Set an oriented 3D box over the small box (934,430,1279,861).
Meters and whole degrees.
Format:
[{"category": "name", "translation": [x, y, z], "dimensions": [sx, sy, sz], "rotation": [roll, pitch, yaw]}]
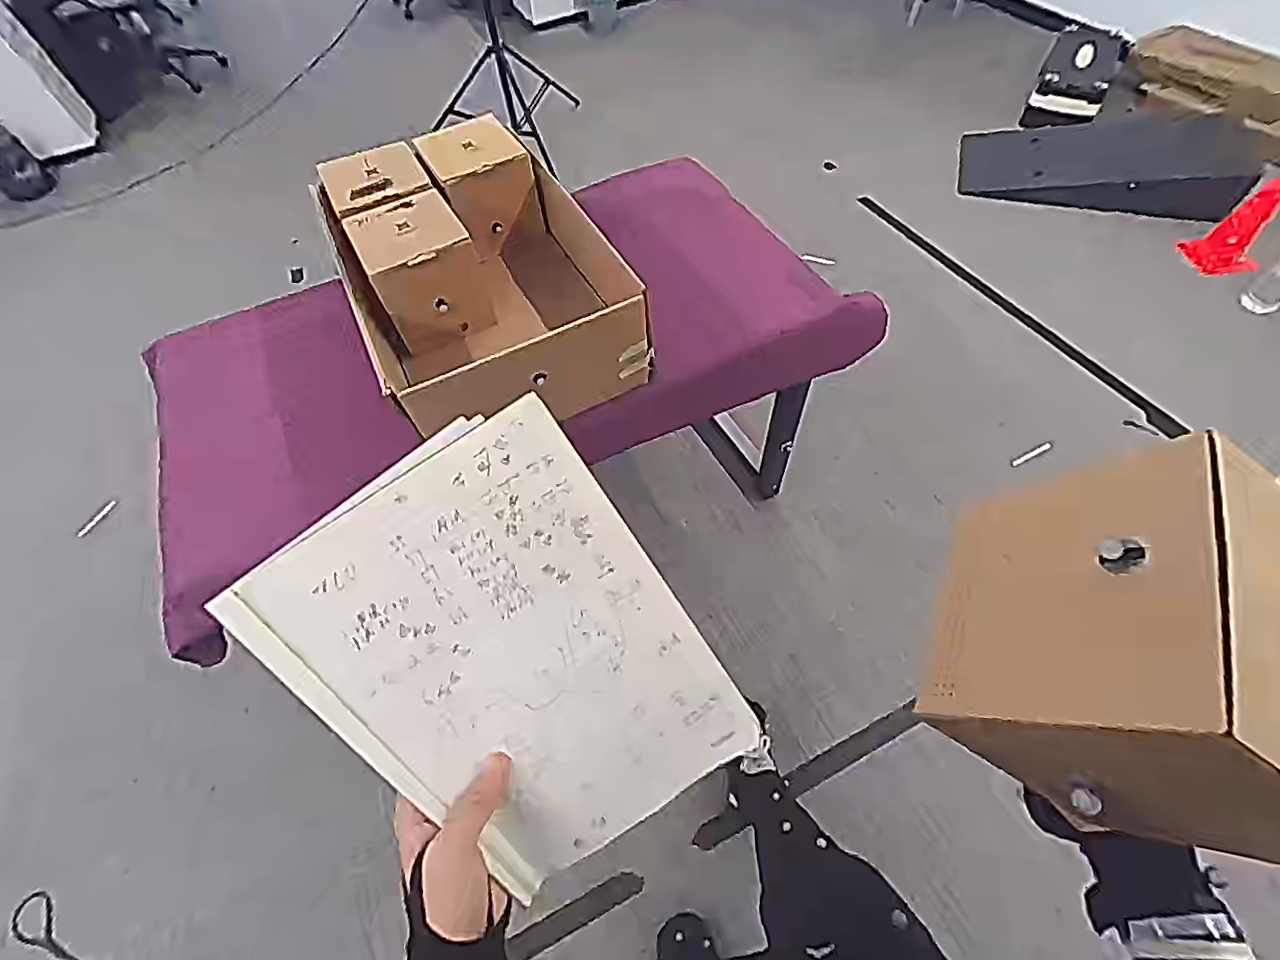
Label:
[{"category": "small box", "translation": [0.321, 0.106, 0.340], "dimensions": [0.168, 0.176, 0.179], "rotation": [33, 63, -7]}]
